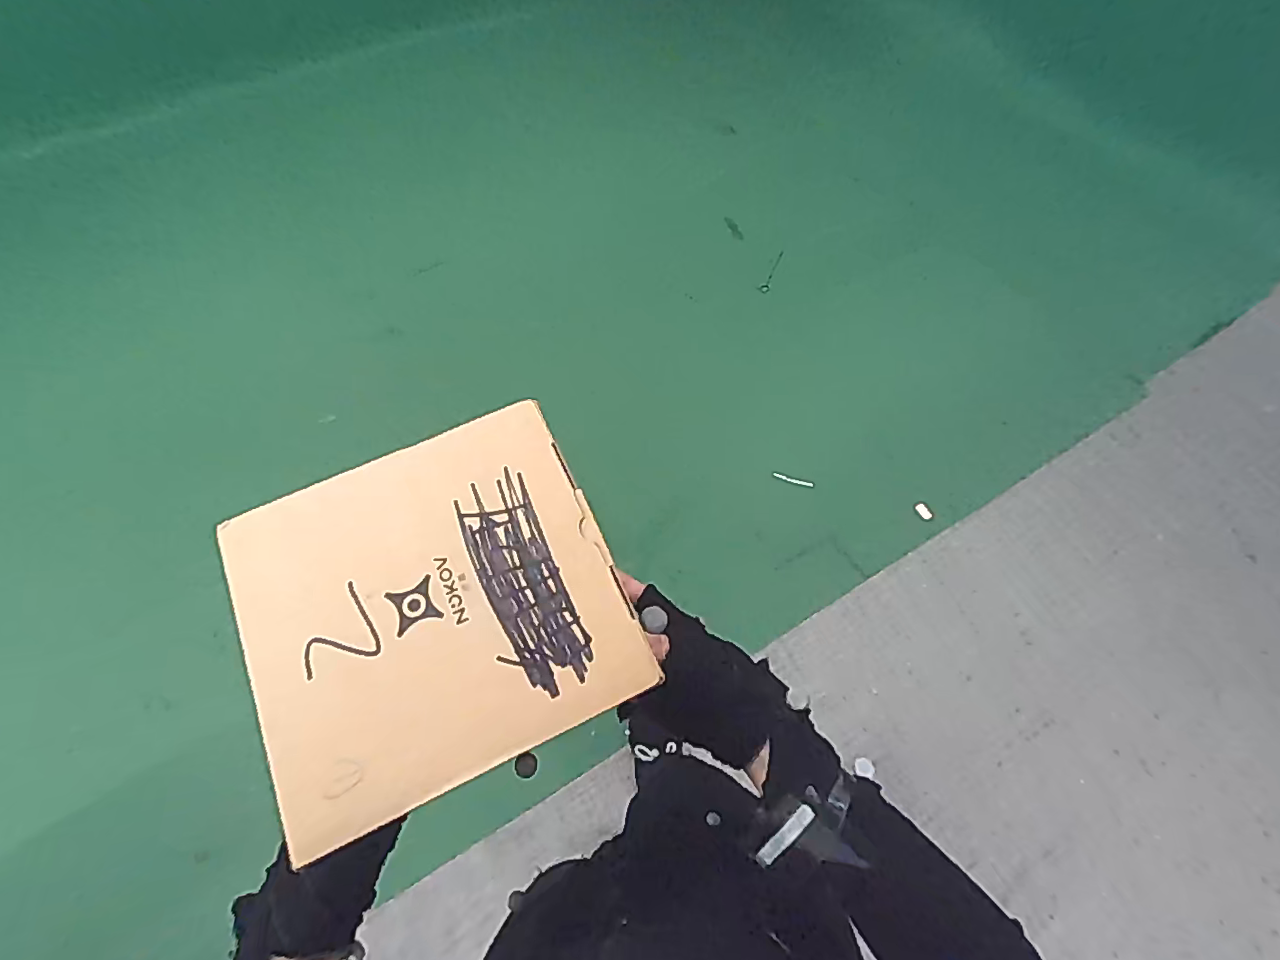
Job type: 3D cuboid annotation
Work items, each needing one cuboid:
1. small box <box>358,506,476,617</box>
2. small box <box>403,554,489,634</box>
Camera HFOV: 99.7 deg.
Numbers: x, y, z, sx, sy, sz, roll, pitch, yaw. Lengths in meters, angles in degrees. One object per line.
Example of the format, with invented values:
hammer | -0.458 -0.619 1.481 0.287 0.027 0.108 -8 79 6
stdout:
small box | -0.497 0.191 1.222 0.179 0.176 0.168 -25 66 -11
small box | -0.500 0.275 1.364 0.168 0.176 0.179 -24 66 -11
